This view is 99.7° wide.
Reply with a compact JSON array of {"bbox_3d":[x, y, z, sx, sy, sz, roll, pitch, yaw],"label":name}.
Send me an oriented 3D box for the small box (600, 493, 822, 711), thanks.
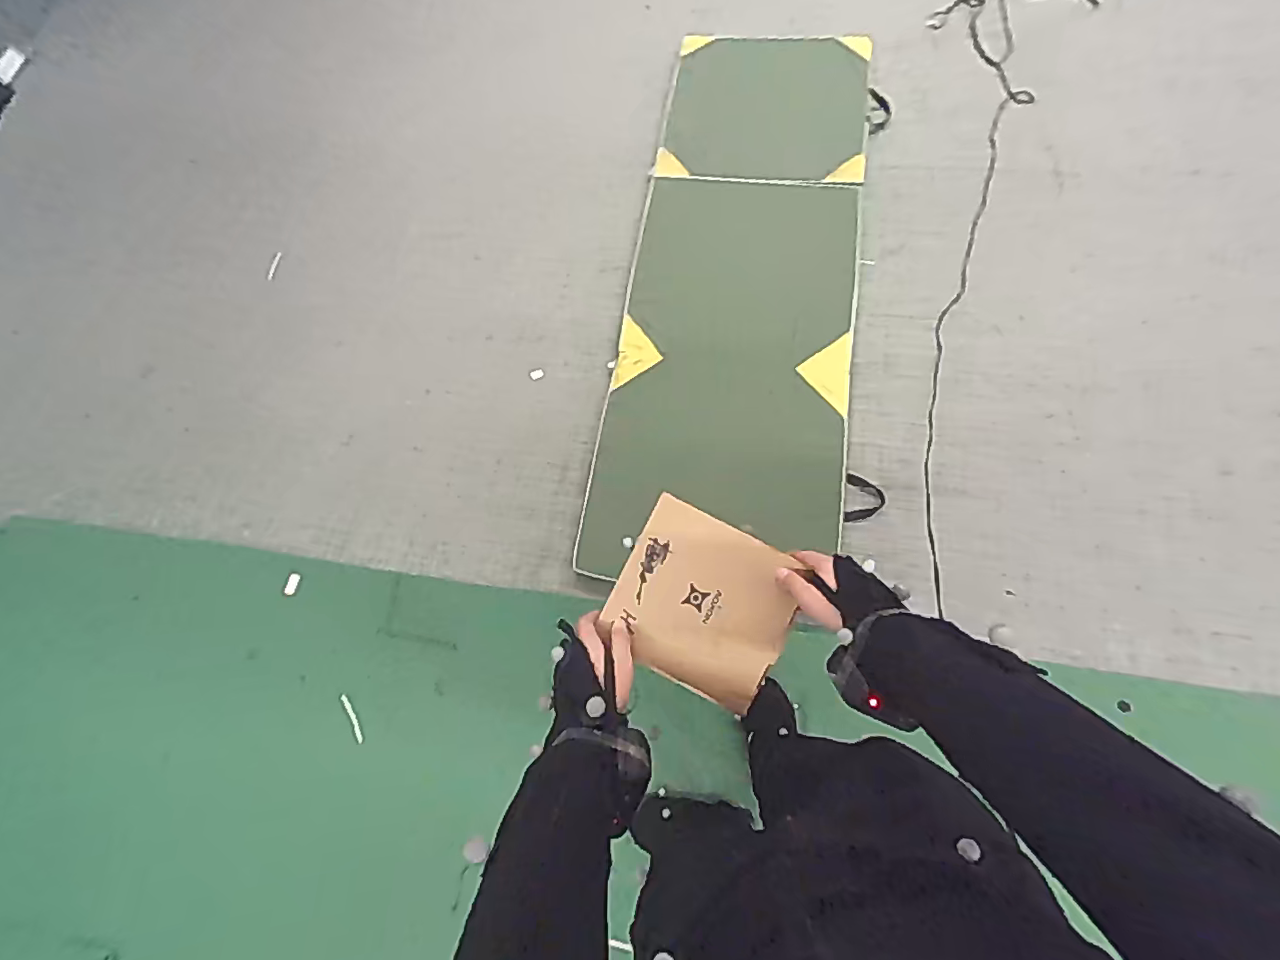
[{"bbox_3d":[0.075,0.127,0.627,0.179,0.176,0.168,28,86,4],"label":"small box"}]
